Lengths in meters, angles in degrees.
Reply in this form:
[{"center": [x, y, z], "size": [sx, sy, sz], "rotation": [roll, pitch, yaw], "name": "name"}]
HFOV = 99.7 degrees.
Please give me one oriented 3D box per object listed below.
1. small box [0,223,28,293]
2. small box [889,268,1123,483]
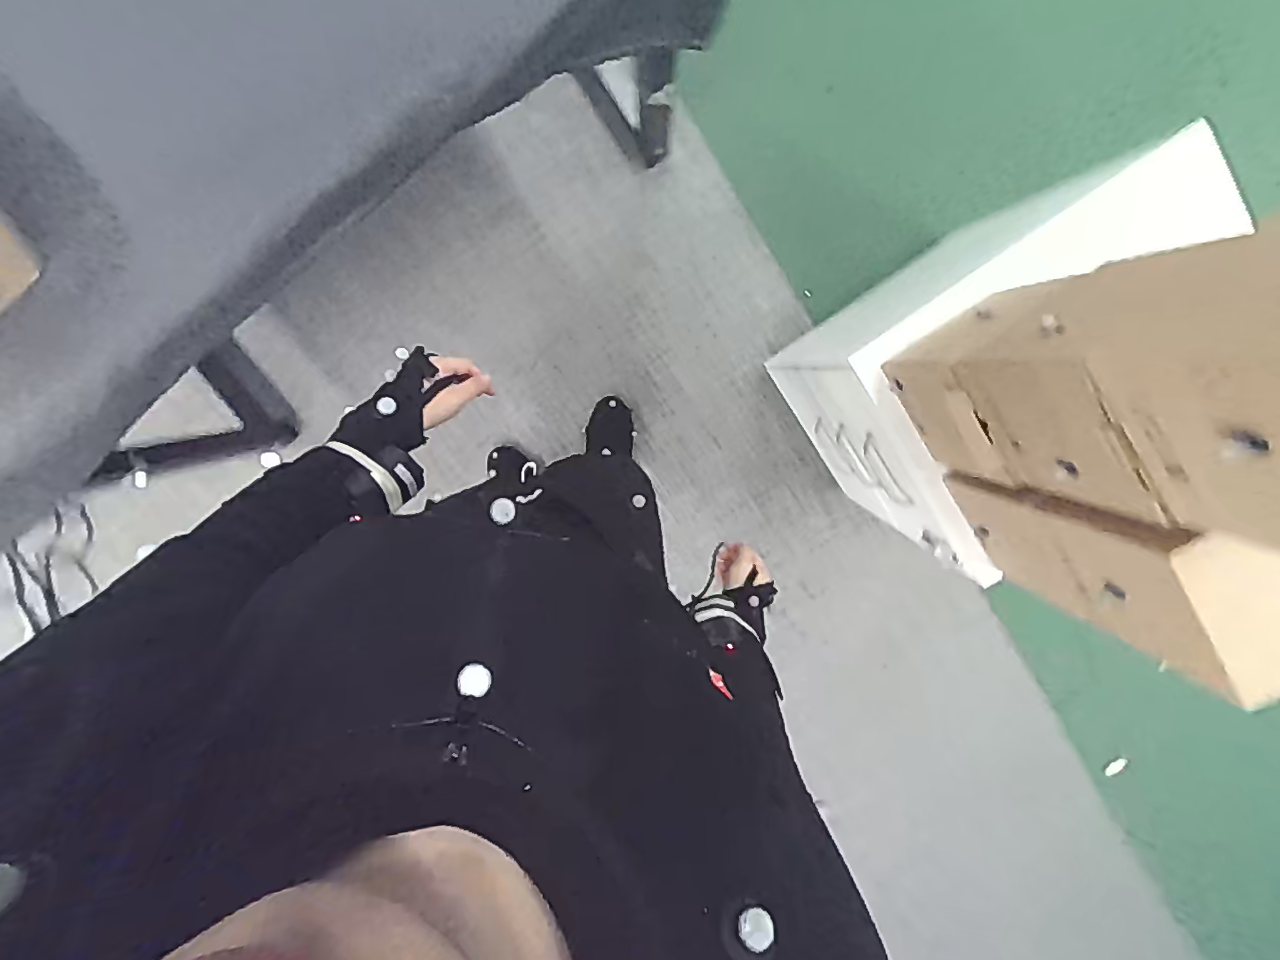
[{"center": [-0.759, -0.242, 0.492], "size": [0.168, 0.176, 0.179], "rotation": [-35, 99, 7], "name": "small box"}, {"center": [0.433, -0.123, 0.653], "size": [0.179, 0.176, 0.168], "rotation": [-33, 101, 6], "name": "small box"}]
